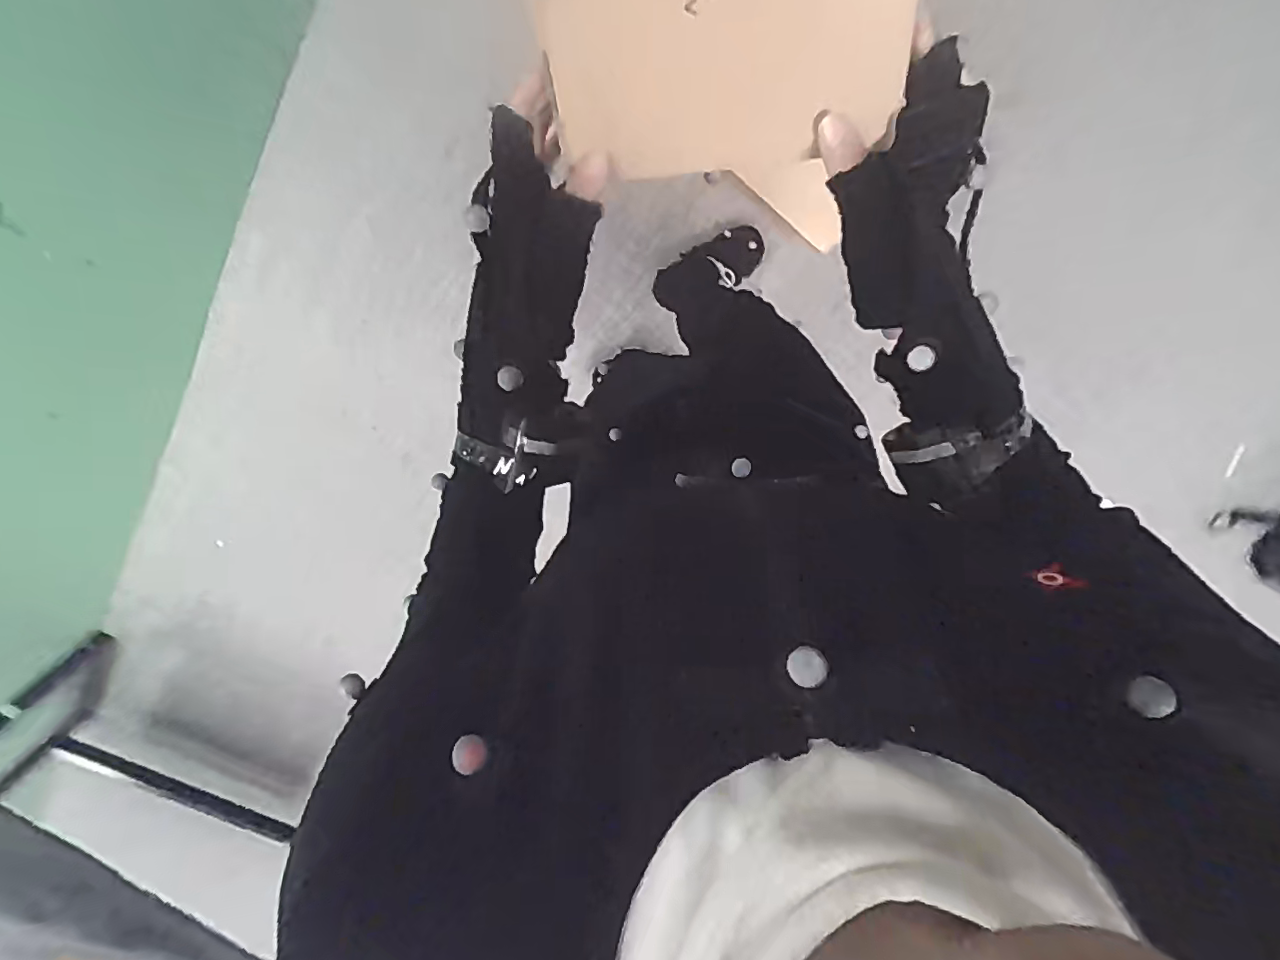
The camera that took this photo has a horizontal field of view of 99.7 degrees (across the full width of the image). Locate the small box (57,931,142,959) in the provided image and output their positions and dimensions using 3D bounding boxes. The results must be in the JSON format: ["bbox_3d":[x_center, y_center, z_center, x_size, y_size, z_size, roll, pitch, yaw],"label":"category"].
[{"bbox_3d":[-1.472,1.330,1.422,0.168,0.176,0.179,32,116,-14],"label":"small box"}]
